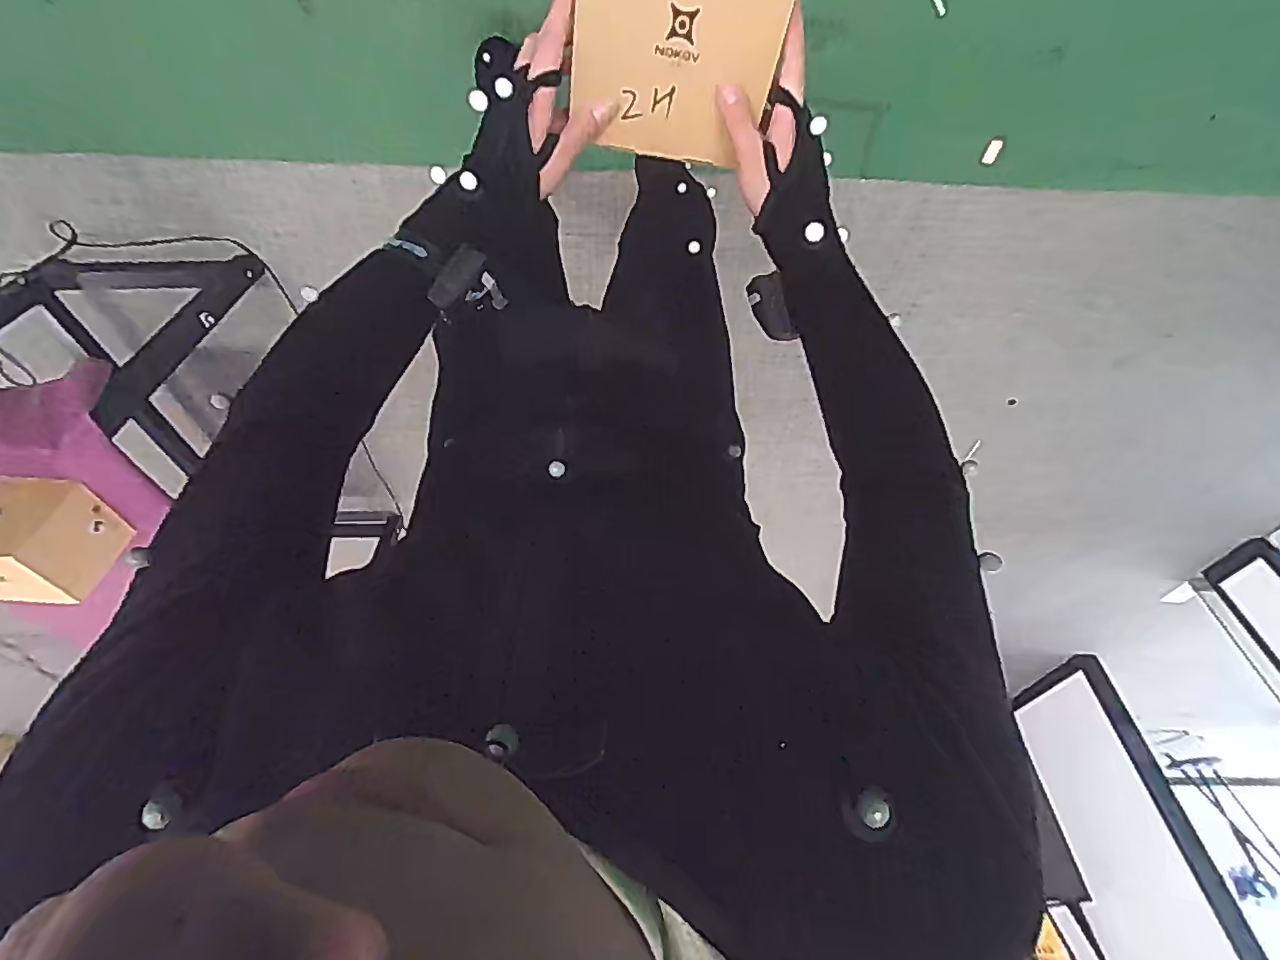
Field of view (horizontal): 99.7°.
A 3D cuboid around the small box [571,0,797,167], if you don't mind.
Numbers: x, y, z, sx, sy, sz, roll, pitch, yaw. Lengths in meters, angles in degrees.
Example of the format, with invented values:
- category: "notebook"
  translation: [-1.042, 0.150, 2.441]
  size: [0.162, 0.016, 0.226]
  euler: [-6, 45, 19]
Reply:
- category: "small box"
  translation: [0.032, -0.412, 0.472]
  size: [0.168, 0.176, 0.179]
  euler: [6, 141, -8]
